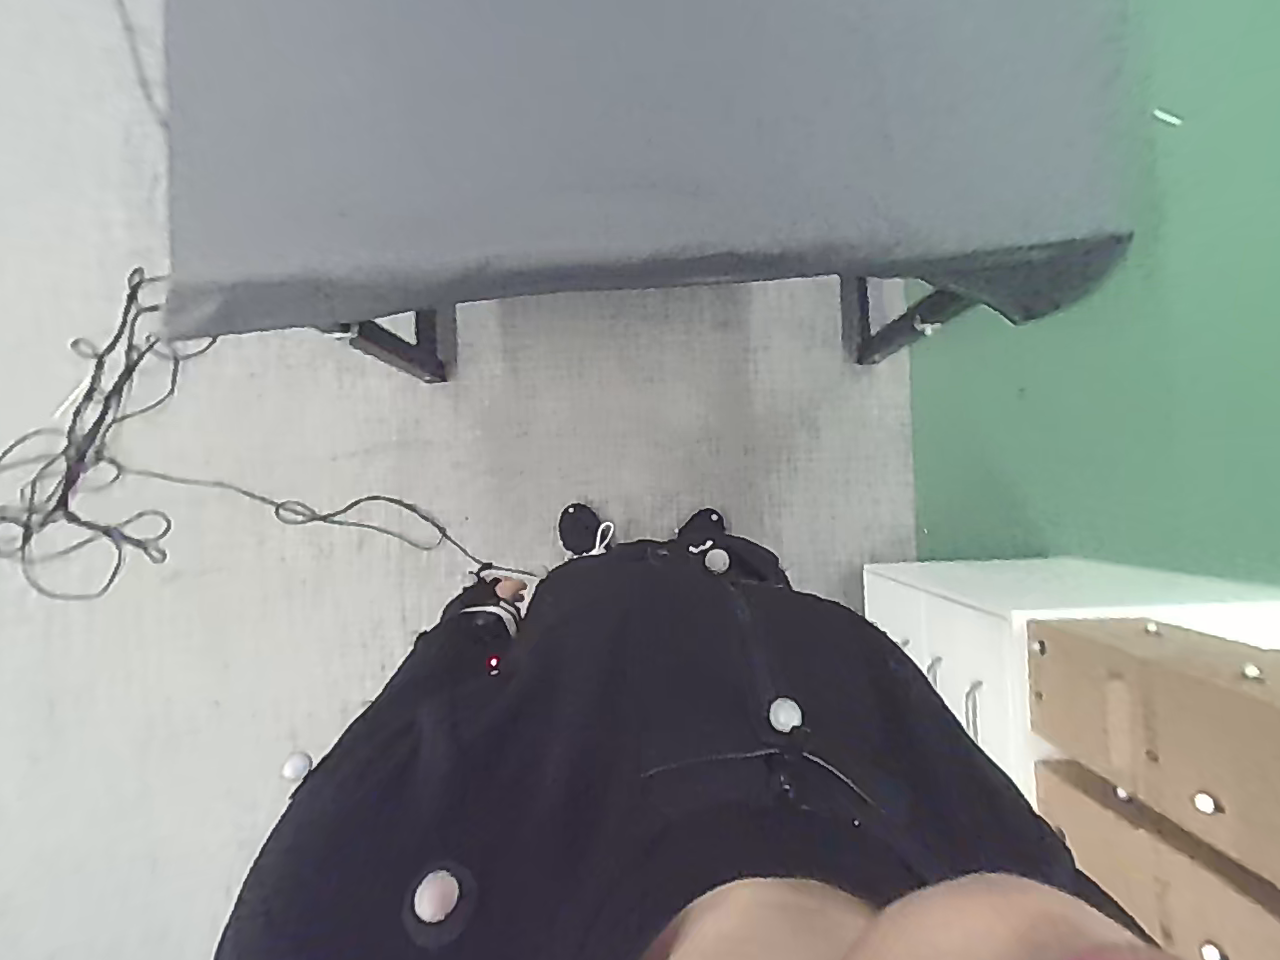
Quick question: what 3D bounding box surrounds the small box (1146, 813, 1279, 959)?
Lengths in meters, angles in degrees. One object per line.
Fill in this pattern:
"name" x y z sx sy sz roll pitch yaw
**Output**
"small box" 0.650 0.460 0.530 0.179 0.176 0.168 -6 88 0
